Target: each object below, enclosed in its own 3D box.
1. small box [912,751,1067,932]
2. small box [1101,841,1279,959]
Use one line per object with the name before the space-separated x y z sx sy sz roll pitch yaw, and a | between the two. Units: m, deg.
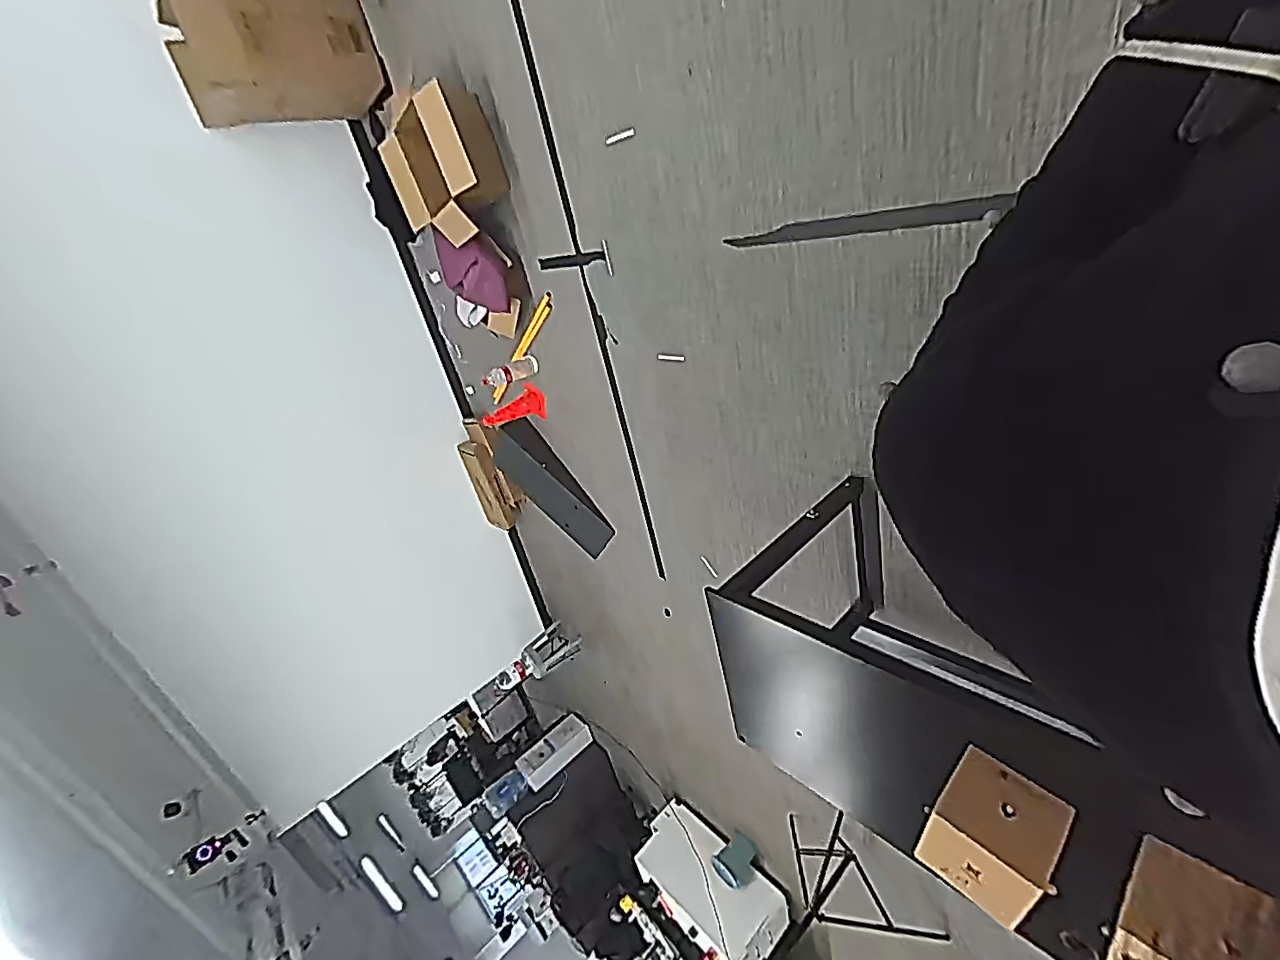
small box | 0.613 0.625 0.953 0.168 0.176 0.179 29 138 40
small box | 0.782 0.664 0.754 0.179 0.176 0.168 18 130 46
